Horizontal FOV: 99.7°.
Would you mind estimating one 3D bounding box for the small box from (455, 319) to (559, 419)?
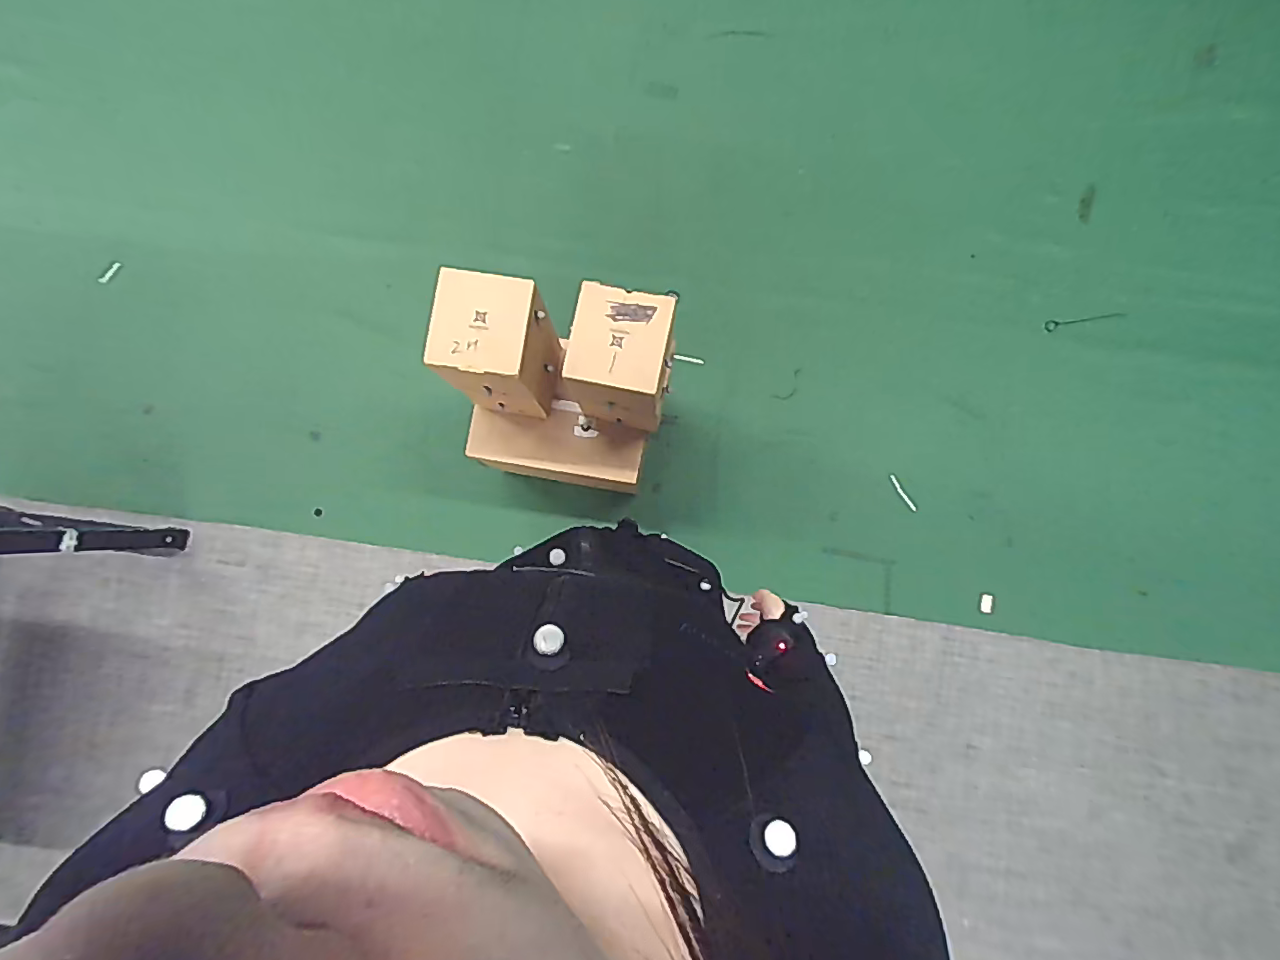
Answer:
[{"bbox_3d":[-0.274,-0.244,1.156,0.168,0.176,0.179,10,84,1],"label":"small box"}]

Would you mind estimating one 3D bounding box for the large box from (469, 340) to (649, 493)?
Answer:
[{"bbox_3d":[-0.176,-0.154,1.390,0.408,0.320,0.320,9,85,1],"label":"large box"}]

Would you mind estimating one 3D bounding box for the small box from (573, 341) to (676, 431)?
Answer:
[{"bbox_3d":[-0.028,-0.209,1.149,0.179,0.176,0.168,14,84,3],"label":"small box"}]

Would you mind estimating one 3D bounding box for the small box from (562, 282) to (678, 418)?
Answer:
[{"bbox_3d":[-0.032,-0.228,0.983,0.168,0.176,0.179,12,85,3],"label":"small box"}]

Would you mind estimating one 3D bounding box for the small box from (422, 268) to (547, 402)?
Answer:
[{"bbox_3d":[-0.273,-0.257,0.991,0.168,0.176,0.179,8,85,1],"label":"small box"}]
